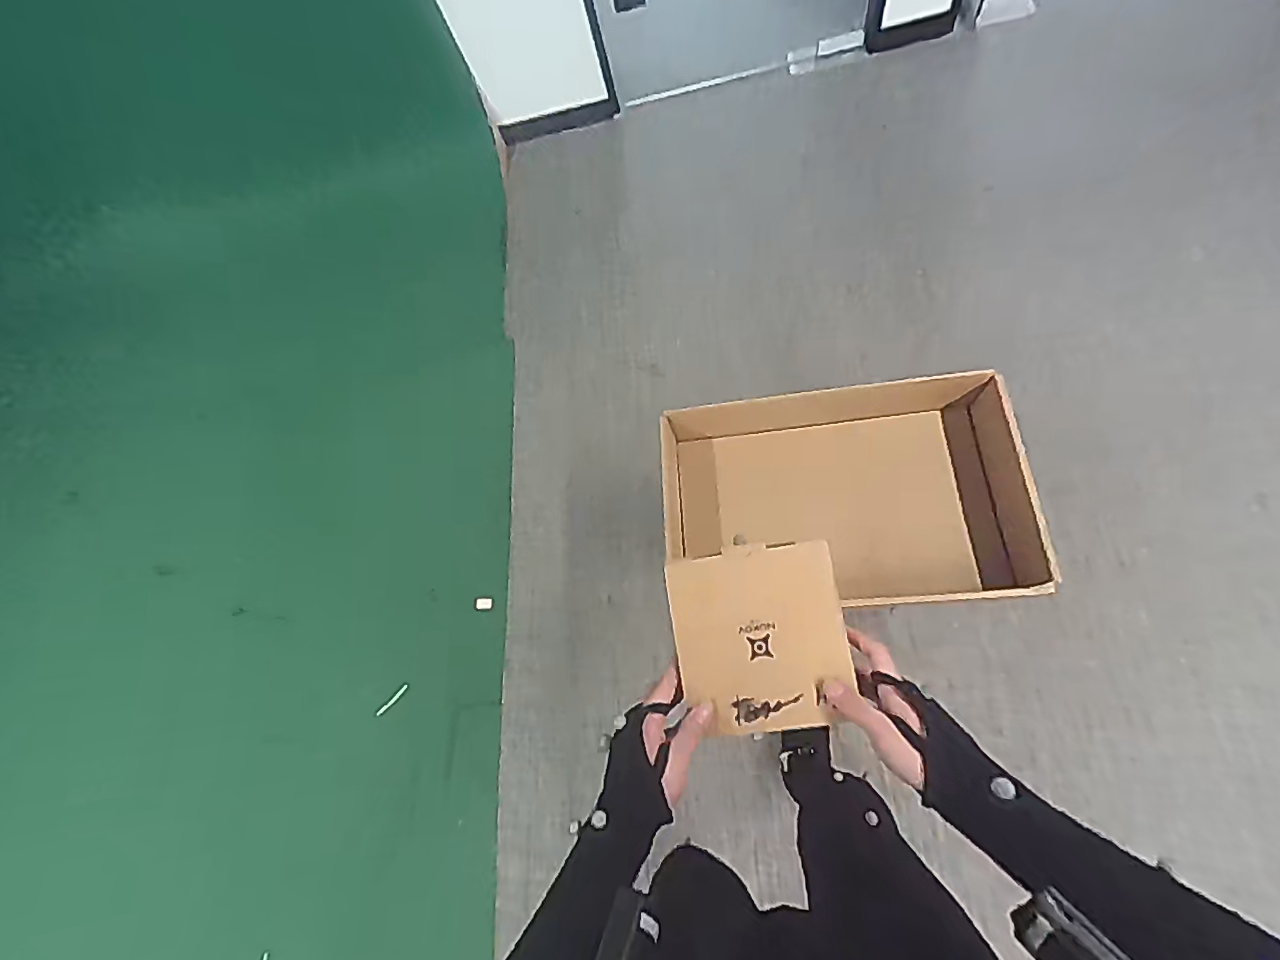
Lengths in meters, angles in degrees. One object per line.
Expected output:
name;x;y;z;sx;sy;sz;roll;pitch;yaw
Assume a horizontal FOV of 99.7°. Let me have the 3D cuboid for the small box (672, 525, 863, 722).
small box;0.131;0.152;0.610;0.168;0.176;0.179;-9;81;7
